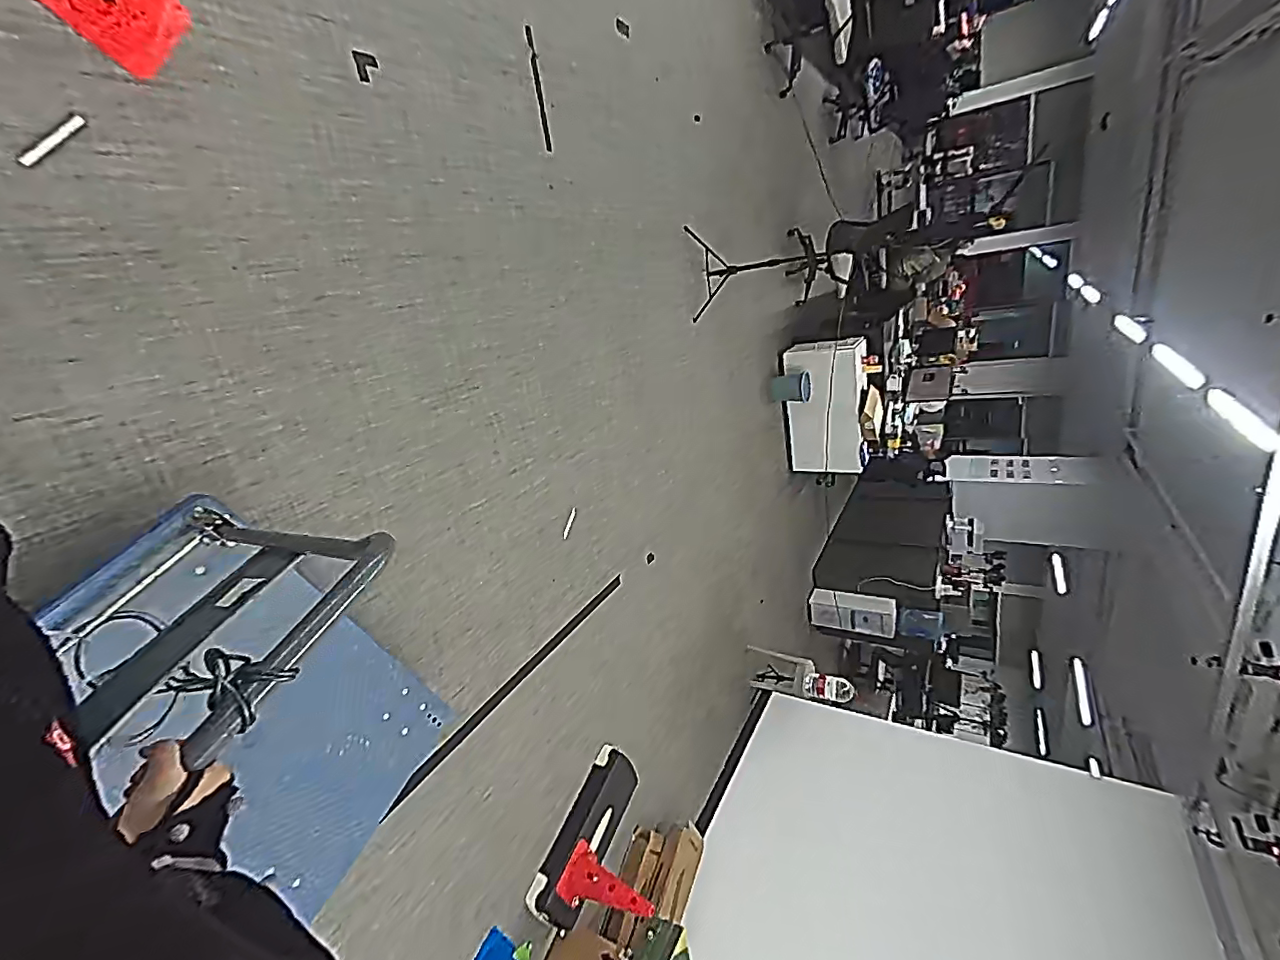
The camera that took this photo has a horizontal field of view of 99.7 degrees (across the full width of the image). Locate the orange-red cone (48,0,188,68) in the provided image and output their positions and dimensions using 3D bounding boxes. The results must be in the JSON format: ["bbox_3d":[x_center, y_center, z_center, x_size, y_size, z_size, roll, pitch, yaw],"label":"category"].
[{"bbox_3d":[-0.850,-0.904,0.913,0.198,0.360,0.199,39,61,-51],"label":"orange-red cone"}]
